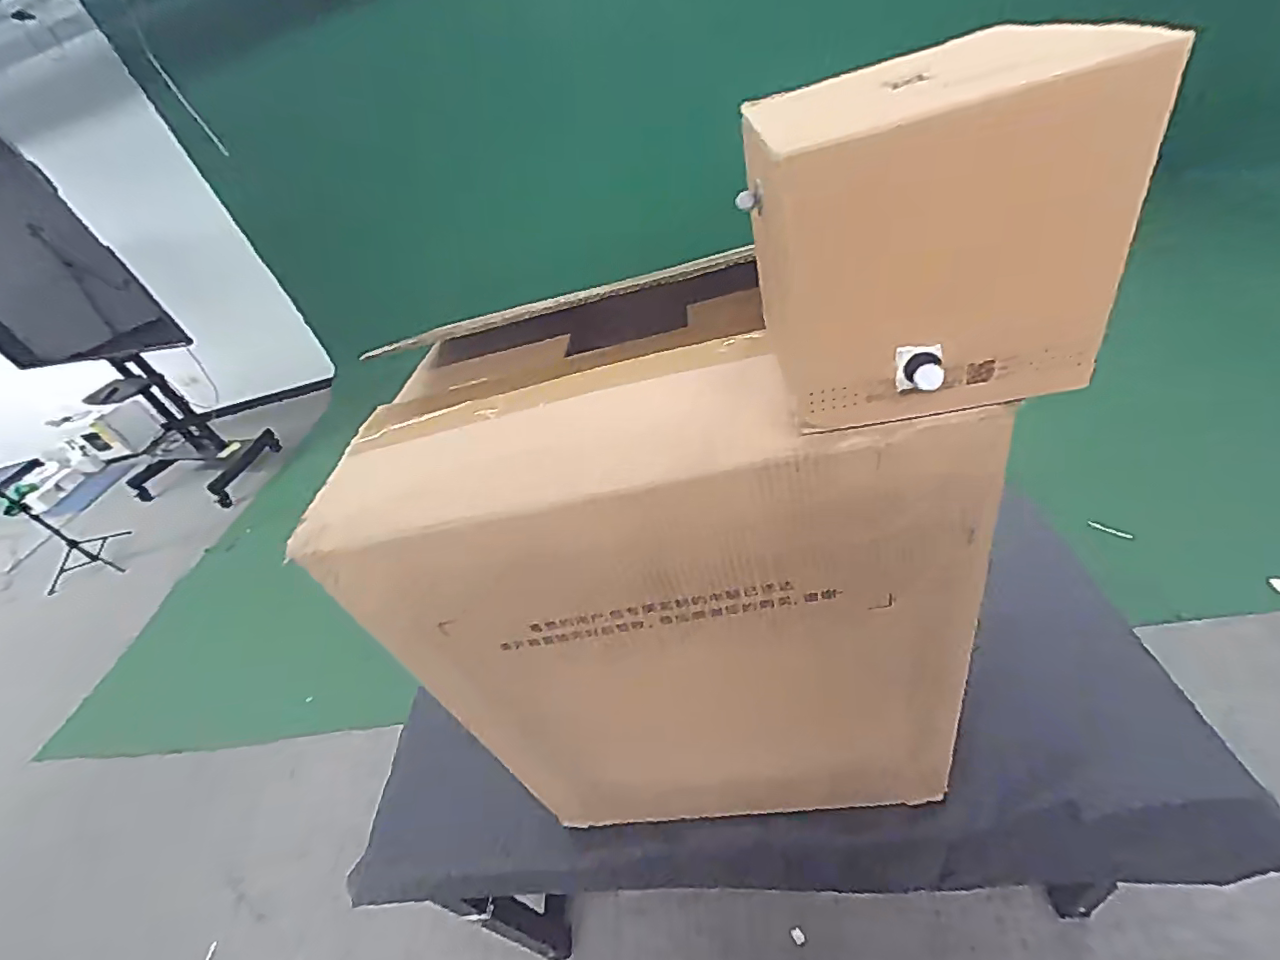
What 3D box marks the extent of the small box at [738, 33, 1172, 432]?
[{"bbox_3d":[0.164,-0.157,0.350,0.168,0.176,0.179,-11,40,11],"label":"small box"}]
